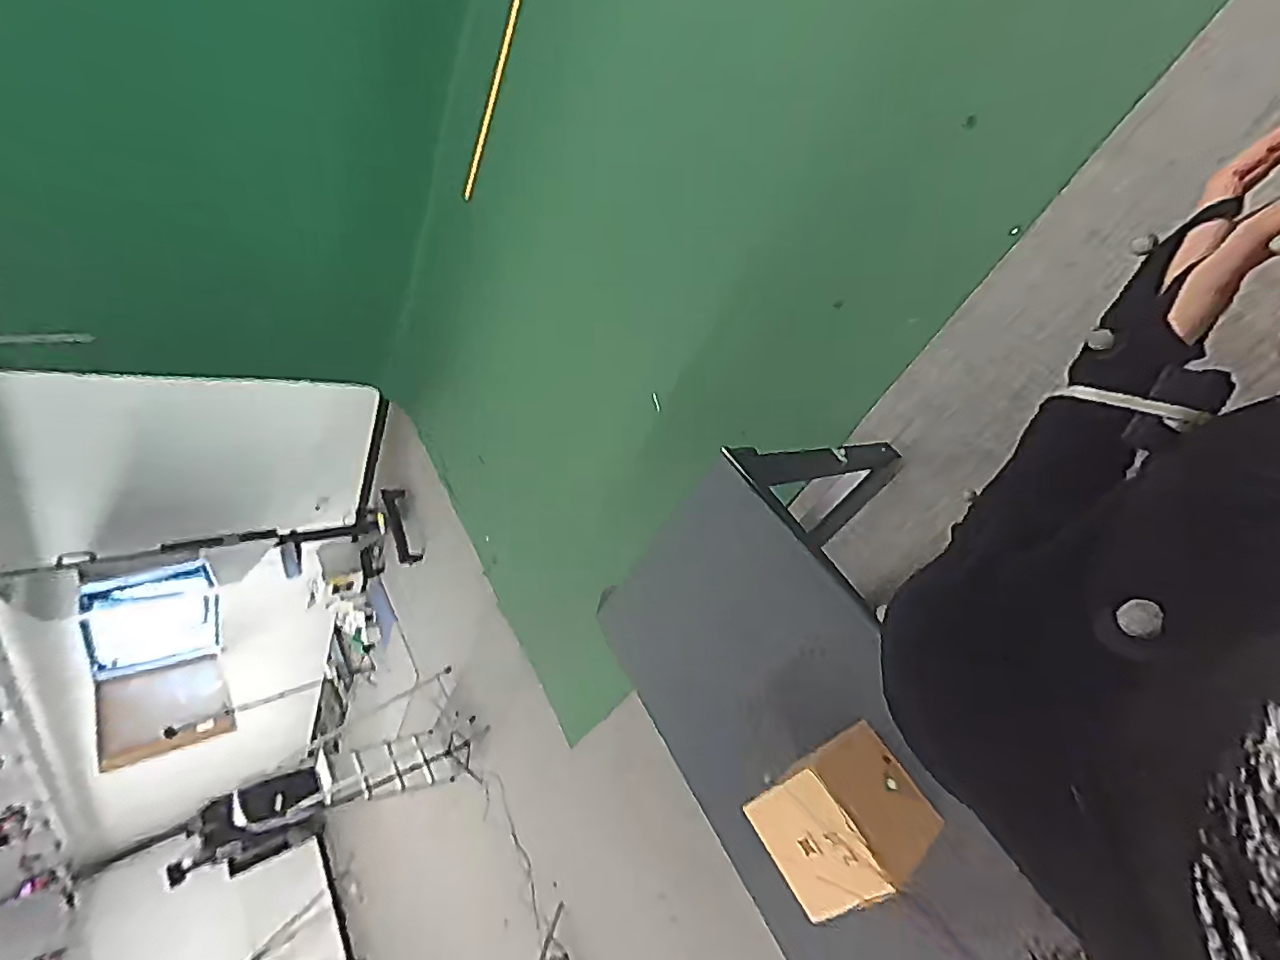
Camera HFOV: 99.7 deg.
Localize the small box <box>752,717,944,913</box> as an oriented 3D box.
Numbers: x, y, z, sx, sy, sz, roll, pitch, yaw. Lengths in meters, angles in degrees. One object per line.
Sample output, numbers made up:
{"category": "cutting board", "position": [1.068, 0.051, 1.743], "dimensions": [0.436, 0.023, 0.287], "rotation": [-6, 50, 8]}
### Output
{"category": "small box", "position": [0.311, 0.493, 0.811], "dimensions": [0.168, 0.176, 0.179], "rotation": [53, 131, 27]}
